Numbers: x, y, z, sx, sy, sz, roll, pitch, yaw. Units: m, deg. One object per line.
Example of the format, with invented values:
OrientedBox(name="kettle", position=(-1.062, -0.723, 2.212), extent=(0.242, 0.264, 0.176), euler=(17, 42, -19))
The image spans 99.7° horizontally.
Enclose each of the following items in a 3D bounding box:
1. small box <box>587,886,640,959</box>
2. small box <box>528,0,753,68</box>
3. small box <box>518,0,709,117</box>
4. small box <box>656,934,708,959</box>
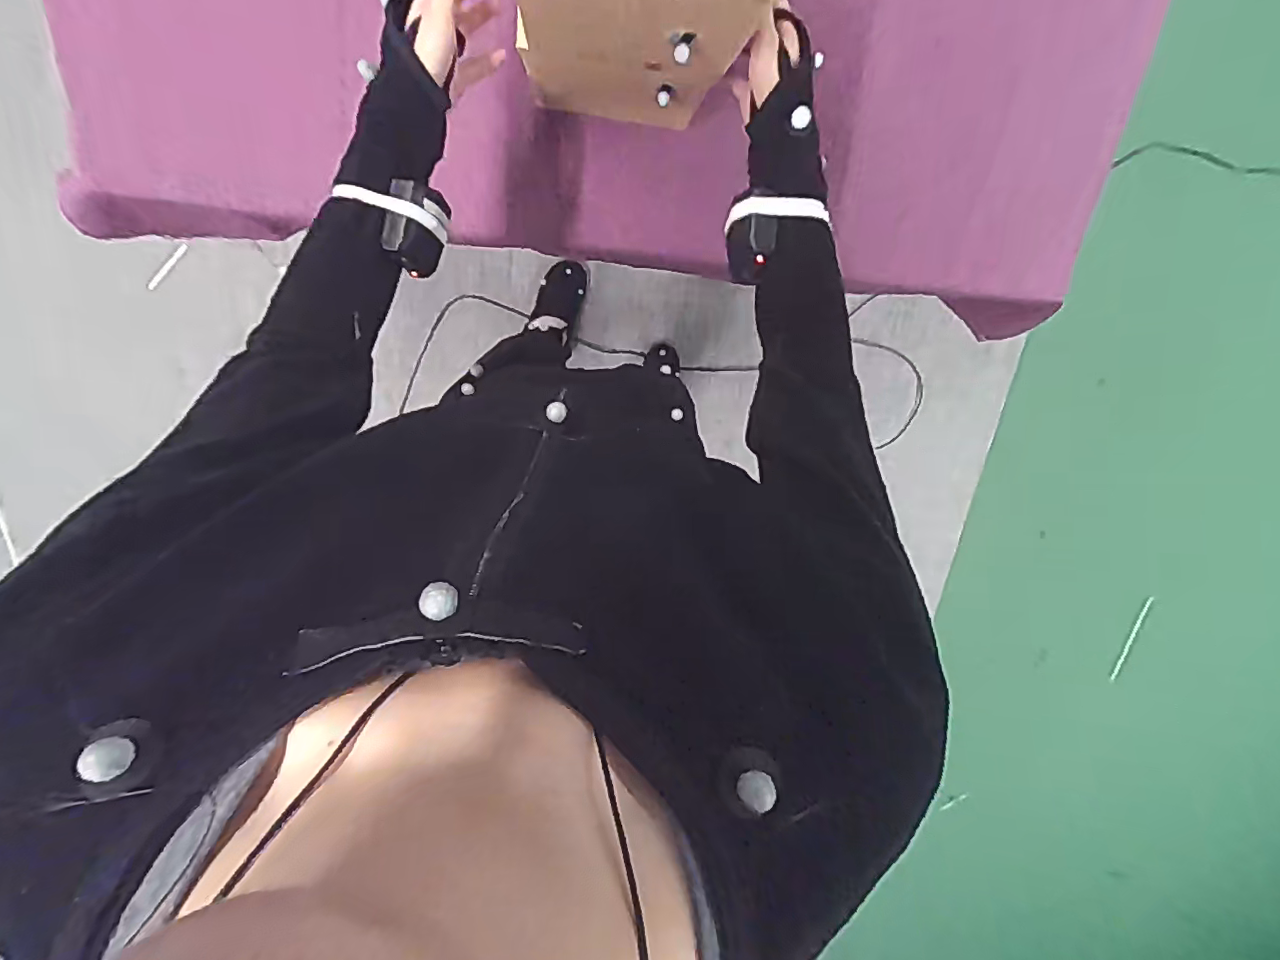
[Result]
OrientedBox(name="small box", position=(-0.104, 1.666, 2.034), extent=(0.179, 0.176, 0.168), euler=(3, 109, -8))
OrientedBox(name="small box", position=(0.005, -0.416, 0.366), extent=(0.168, 0.176, 0.179), euler=(3, 109, -8))
OrientedBox(name="small box", position=(-0.015, -0.473, 0.517), extent=(0.179, 0.176, 0.168), euler=(4, 110, -7))
OrientedBox(name="small box", position=(0.152, 1.762, 1.914), extent=(0.168, 0.176, 0.179), euler=(7, 109, -8))
